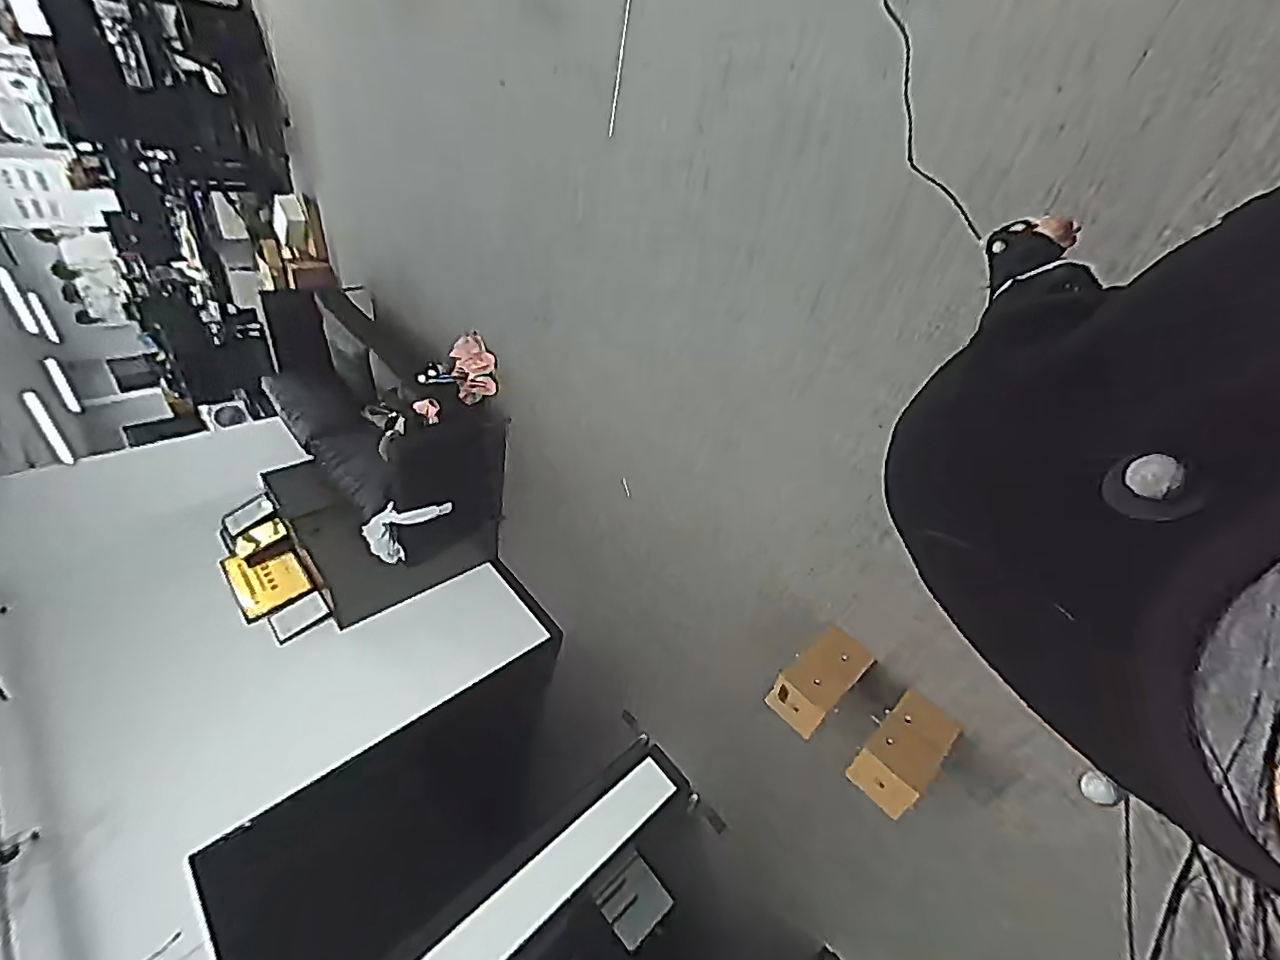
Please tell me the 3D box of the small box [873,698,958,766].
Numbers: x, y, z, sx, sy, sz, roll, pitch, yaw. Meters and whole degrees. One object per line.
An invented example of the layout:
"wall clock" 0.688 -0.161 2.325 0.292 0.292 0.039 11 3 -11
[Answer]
"small box" 0.866 0.825 1.719 0.179 0.176 0.168 37 133 31

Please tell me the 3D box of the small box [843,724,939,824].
"small box" 0.748 0.864 1.612 0.179 0.176 0.168 37 133 31

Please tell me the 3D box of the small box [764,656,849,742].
"small box" 0.545 0.706 1.771 0.179 0.176 0.168 39 133 30
